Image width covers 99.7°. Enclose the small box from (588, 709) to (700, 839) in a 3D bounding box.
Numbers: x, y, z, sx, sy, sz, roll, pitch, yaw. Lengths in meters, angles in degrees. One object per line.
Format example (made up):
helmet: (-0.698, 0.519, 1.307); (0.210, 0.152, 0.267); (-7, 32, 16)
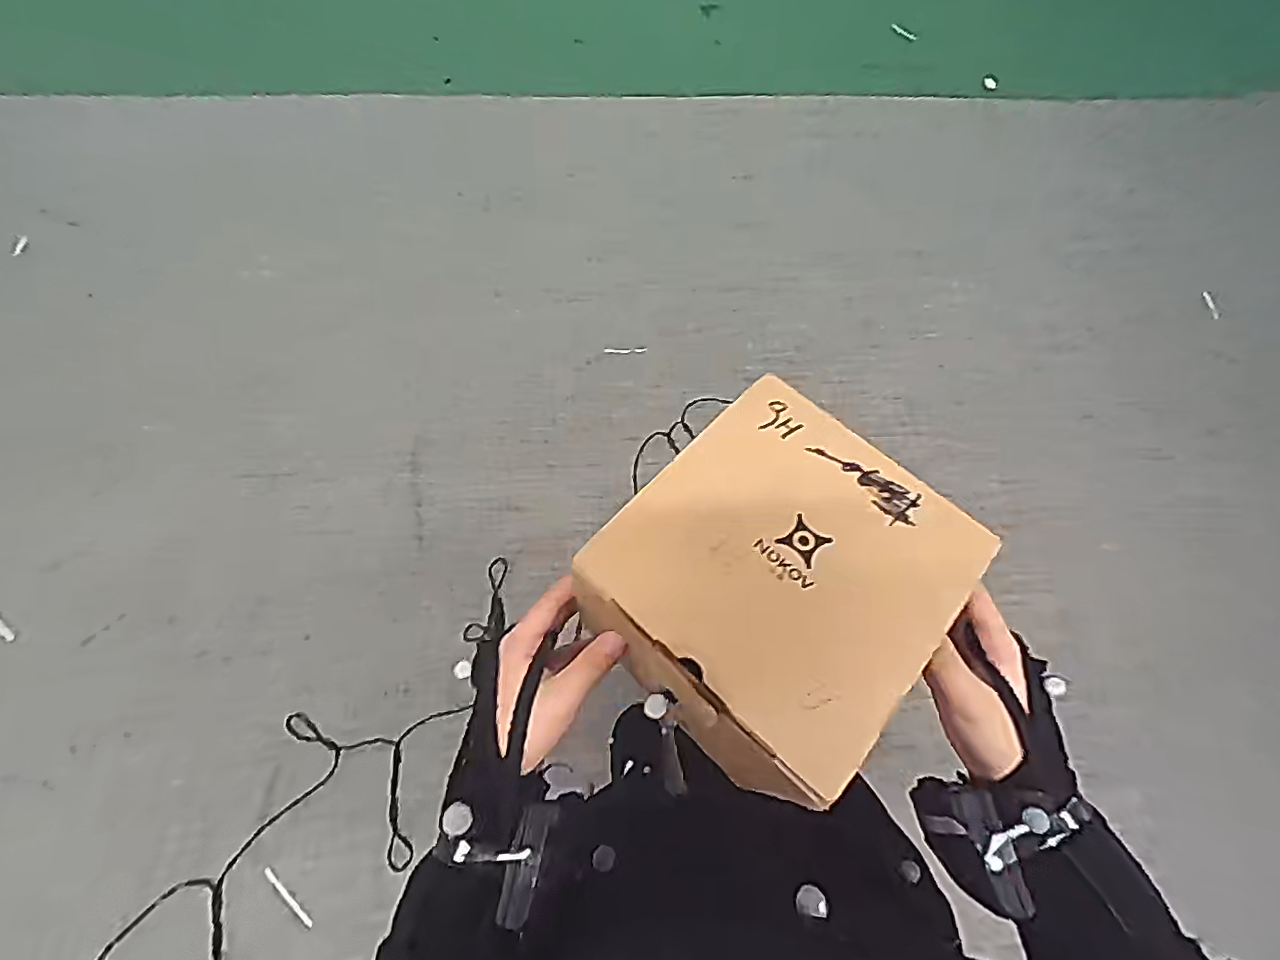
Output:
small box: (0.007, 0.593, 1.102); (0.179, 0.176, 0.168); (34, 67, 19)
